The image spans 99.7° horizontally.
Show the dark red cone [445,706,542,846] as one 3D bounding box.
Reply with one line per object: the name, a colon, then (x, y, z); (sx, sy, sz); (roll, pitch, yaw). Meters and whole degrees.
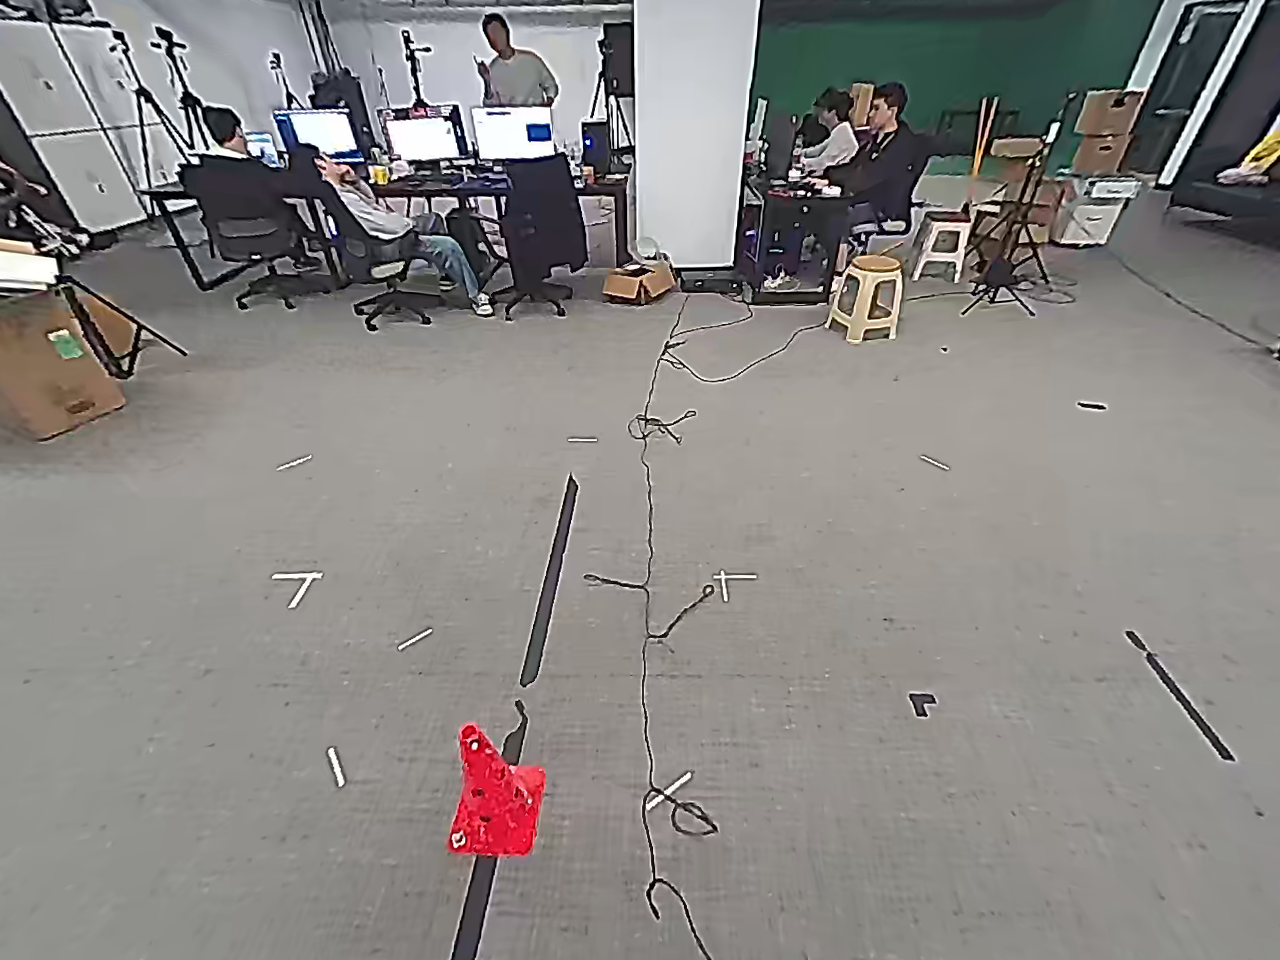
dark red cone: (-0.342, 0.628, 1.192); (0.201, 0.394, 0.202); (1, 37, 1)
